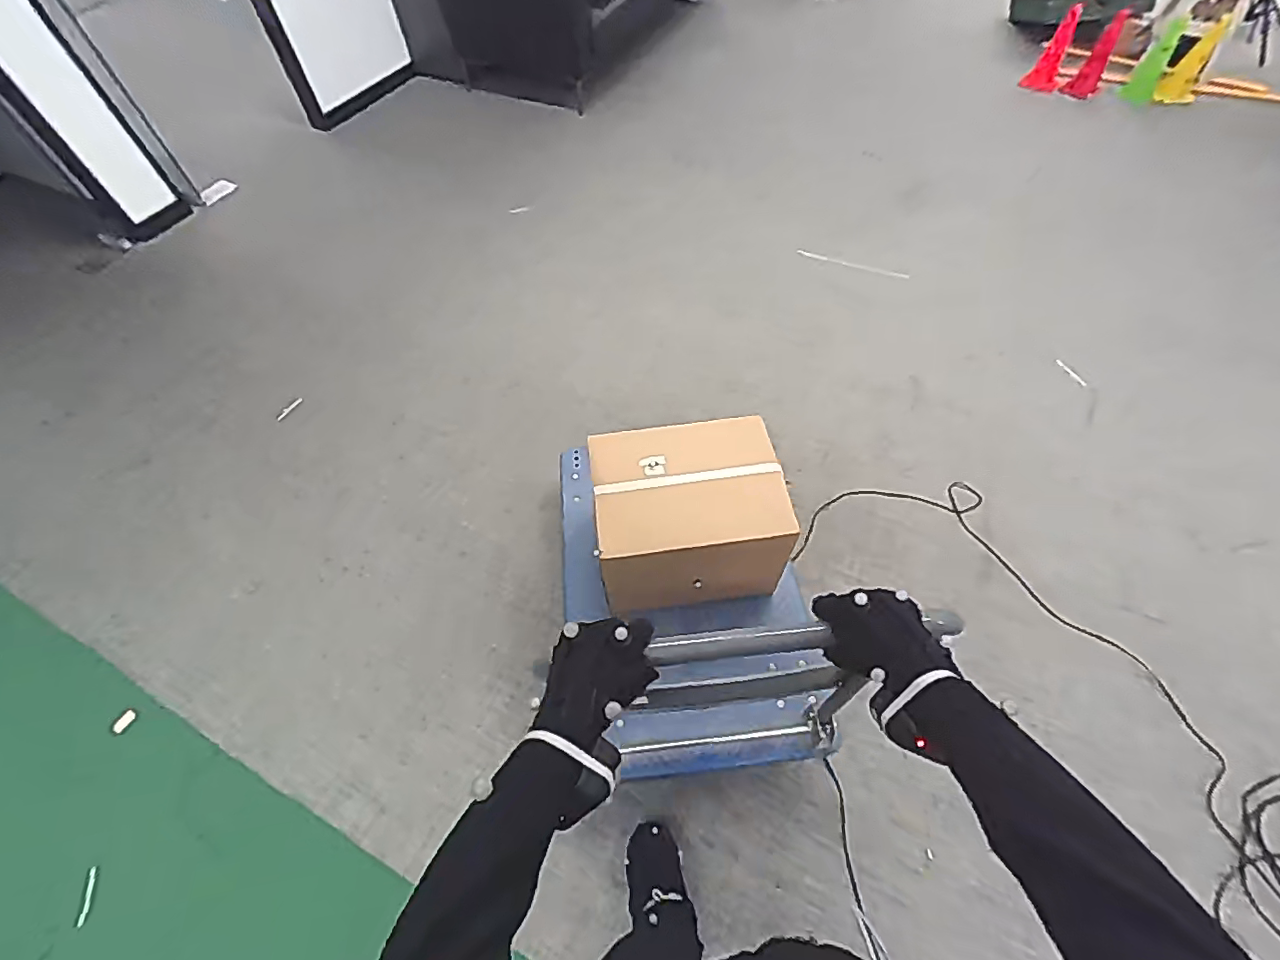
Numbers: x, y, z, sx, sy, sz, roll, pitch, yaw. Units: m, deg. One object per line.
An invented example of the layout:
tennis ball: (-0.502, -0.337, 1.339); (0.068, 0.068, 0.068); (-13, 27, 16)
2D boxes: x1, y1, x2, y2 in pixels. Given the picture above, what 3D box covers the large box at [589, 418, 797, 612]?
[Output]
large box: (0.108, 0.091, 1.280); (0.408, 0.320, 0.320); (-8, 56, -3)
